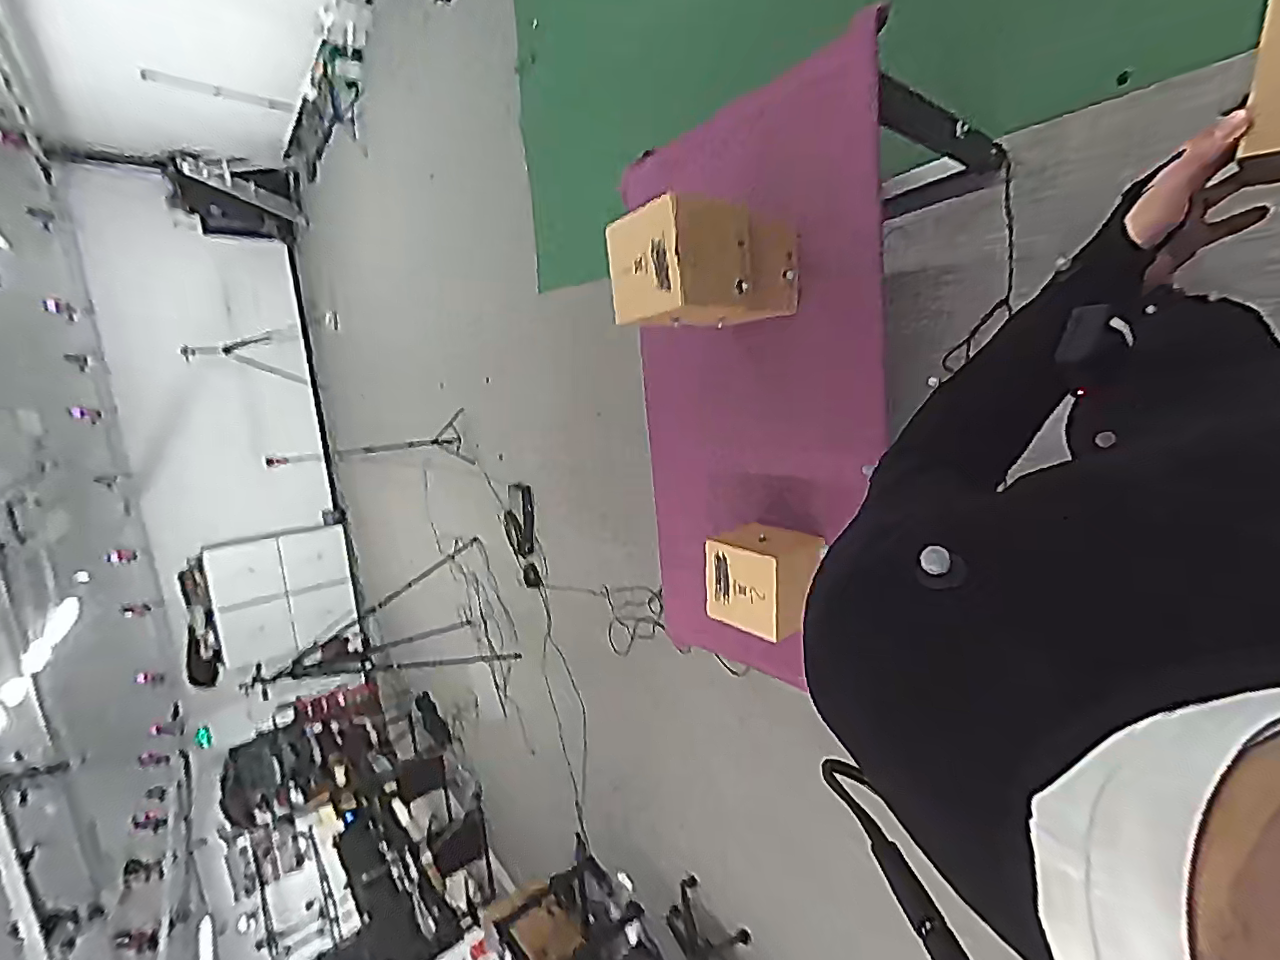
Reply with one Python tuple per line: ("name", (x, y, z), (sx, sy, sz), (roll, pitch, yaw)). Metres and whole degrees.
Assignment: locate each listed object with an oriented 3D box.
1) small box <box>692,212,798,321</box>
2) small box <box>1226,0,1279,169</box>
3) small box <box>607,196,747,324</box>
("small box", (0.183, -0.400, 1.042), (0.179, 0.176, 0.168), (9, 108, 50))
("small box", (0.538, -0.324, 0.361), (0.168, 0.176, 0.179), (15, 114, 46))
("small box", (0.069, -0.368, 0.927), (0.179, 0.176, 0.168), (6, 106, 52))
